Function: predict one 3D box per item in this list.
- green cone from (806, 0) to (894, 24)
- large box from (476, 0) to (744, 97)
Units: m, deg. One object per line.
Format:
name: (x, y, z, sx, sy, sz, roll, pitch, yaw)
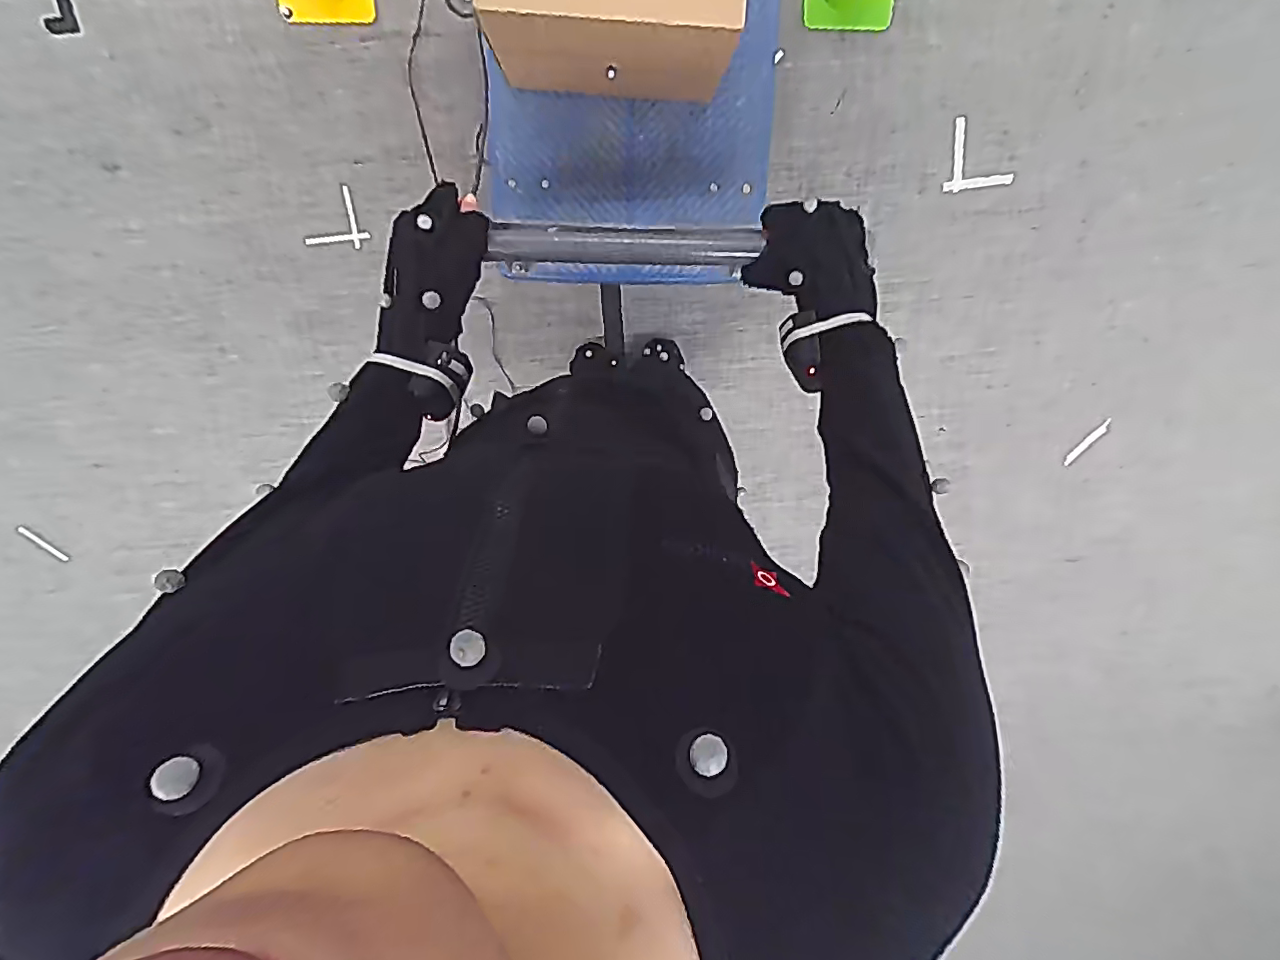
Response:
green cone: (0.475, -1.066, 1.014, 0.202, 0.368, 0.200, -1, 107, -3)
large box: (-0.042, -0.873, 0.902, 0.408, 0.320, 0.320, 2, 107, -2)
